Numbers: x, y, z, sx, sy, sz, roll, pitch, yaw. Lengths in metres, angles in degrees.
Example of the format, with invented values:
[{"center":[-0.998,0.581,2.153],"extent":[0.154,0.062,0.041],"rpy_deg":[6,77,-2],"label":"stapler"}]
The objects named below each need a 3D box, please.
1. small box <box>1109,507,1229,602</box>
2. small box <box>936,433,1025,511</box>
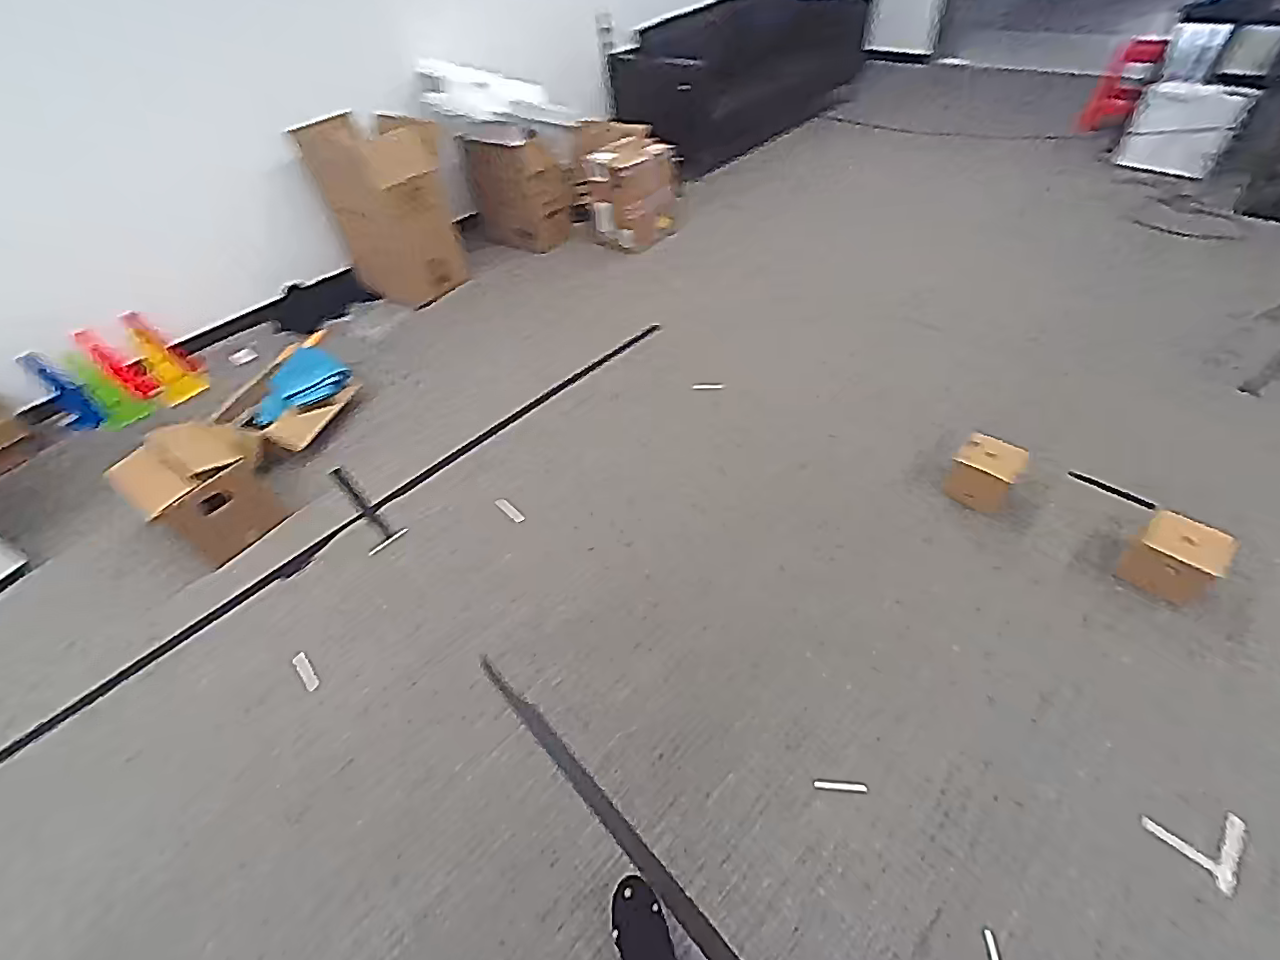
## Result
[{"center":[1.503,0.217,1.546],"extent":[0.179,0.176,0.168],"rpy_deg":[33,61,30],"label":"small box"},{"center":[1.136,-0.021,1.813],"extent":[0.179,0.176,0.168],"rpy_deg":[33,60,31],"label":"small box"}]
